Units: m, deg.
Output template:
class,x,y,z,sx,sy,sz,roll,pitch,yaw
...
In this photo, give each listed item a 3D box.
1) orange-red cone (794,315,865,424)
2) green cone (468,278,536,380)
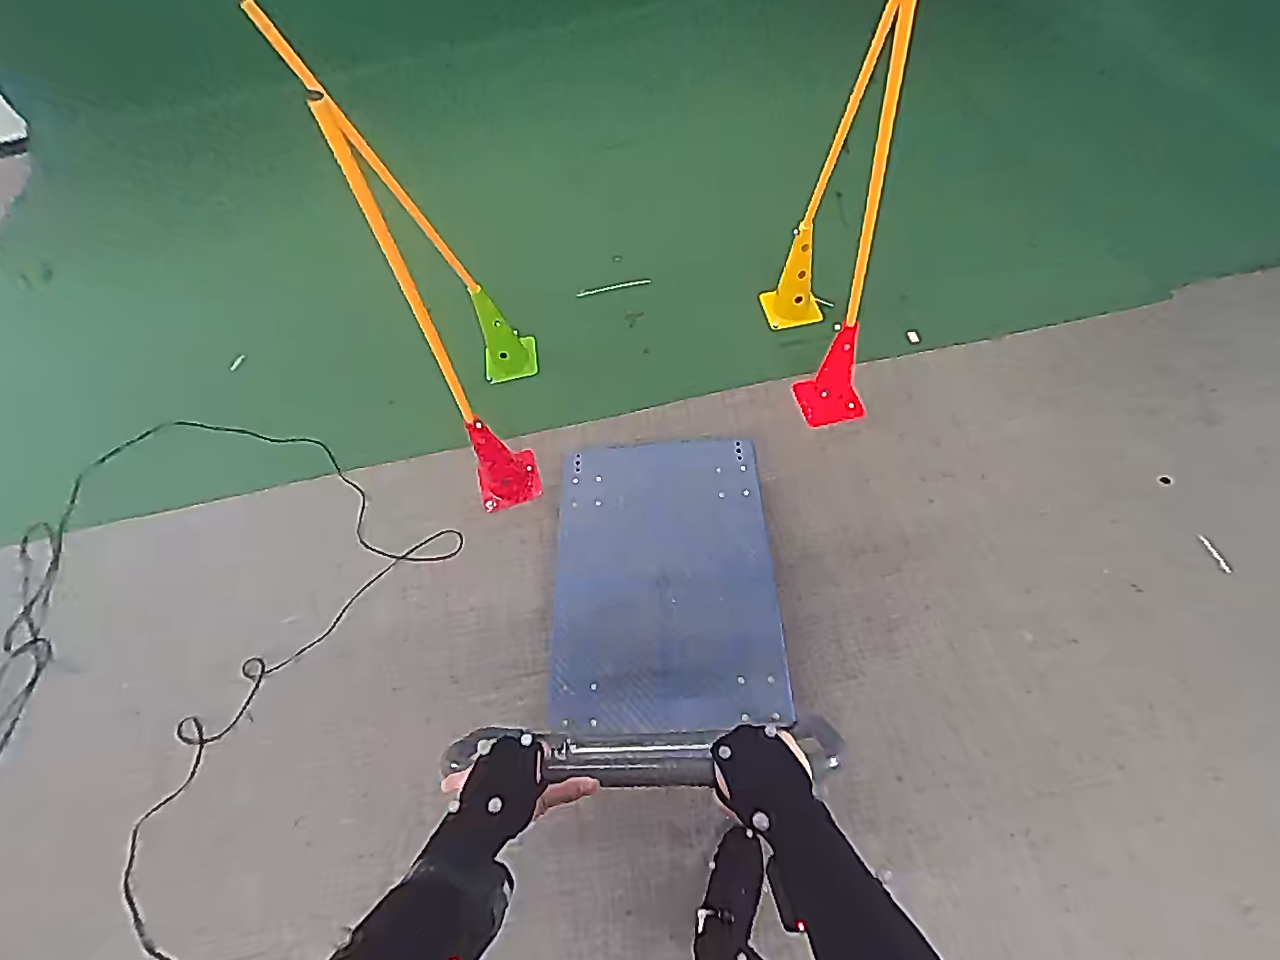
class,x,y,z,sx,sy,sz,roll,pitch,yaw
orange-red cone,0.621,-0.366,1.684,0.198,0.360,0.199,-11,58,0
green cone,-0.524,-0.563,1.939,0.200,0.368,0.202,-12,59,1
